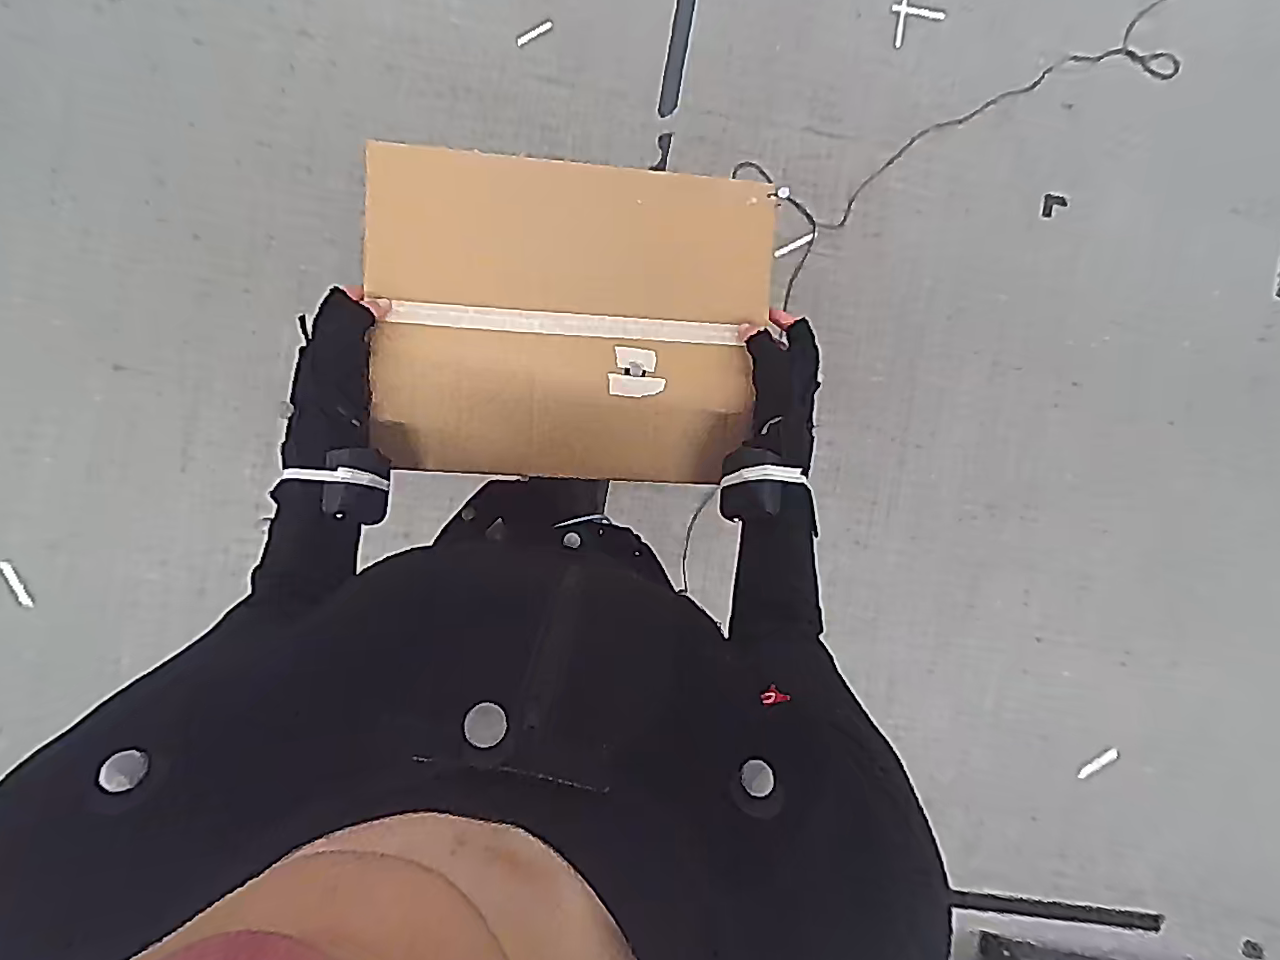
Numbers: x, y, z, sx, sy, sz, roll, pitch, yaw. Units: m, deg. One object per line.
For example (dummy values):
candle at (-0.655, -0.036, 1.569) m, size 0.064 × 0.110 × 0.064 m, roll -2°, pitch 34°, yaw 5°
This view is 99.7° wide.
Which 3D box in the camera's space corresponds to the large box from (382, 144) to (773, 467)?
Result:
large box at (-0.079, -0.186, 0.710) m, size 0.408 × 0.320 × 0.320 m, roll 3°, pitch 96°, yaw -6°
